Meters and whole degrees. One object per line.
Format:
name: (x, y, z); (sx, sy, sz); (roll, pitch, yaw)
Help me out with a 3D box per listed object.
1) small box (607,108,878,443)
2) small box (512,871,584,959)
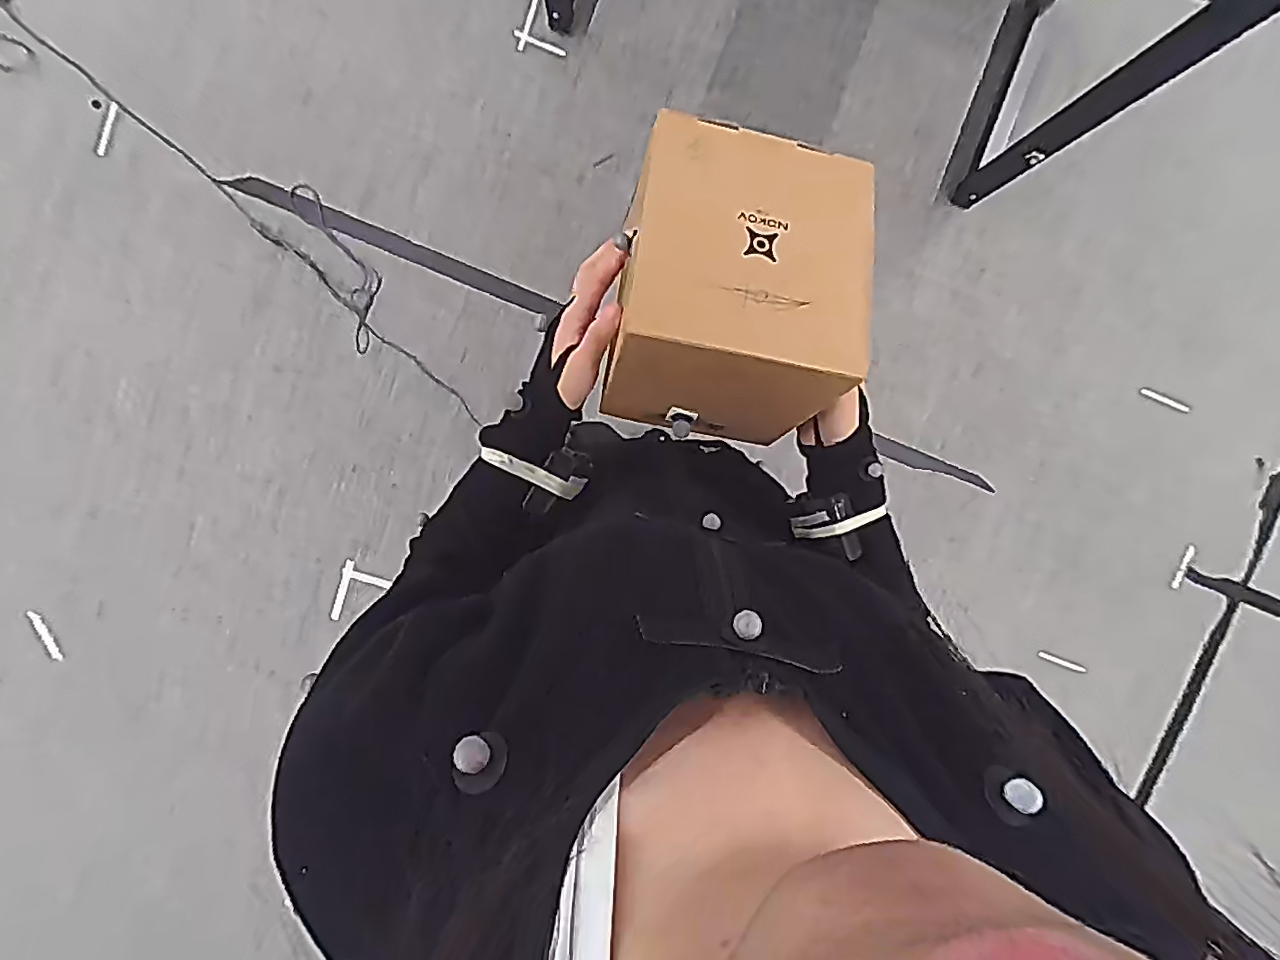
small box: (0.070, -0.145, 0.441); (0.168, 0.176, 0.179); (8, 77, -8)
small box: (-0.254, 1.240, 1.518); (0.179, 0.176, 0.168); (8, 95, -5)
